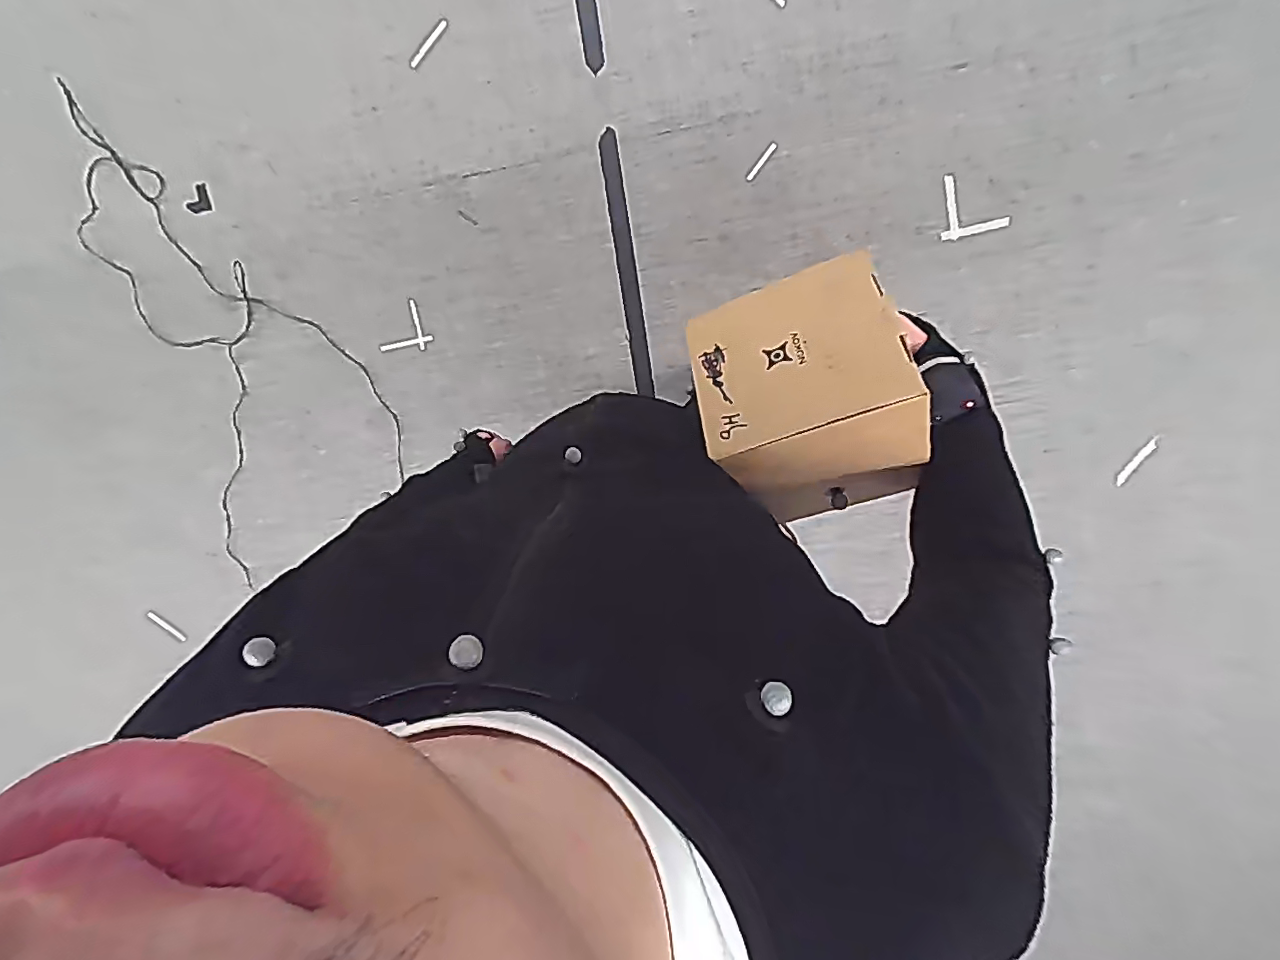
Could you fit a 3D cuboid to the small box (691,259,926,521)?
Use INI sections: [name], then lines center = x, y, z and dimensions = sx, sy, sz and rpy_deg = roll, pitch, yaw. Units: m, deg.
[small box]
center = 0.169, -0.077, 0.549
dimensions = 0.179, 0.176, 0.168
rpy_deg = -18, 57, 19
